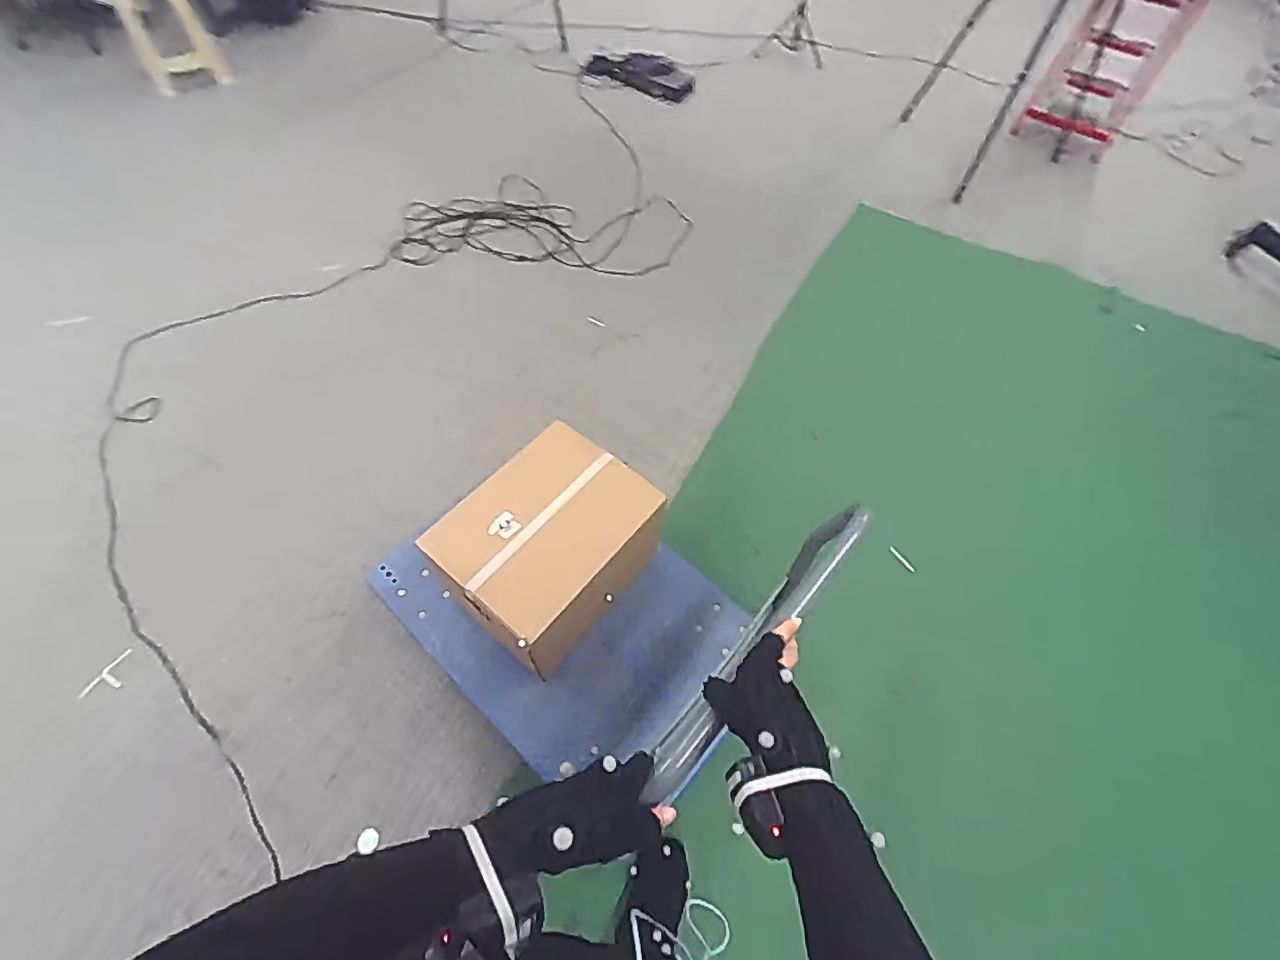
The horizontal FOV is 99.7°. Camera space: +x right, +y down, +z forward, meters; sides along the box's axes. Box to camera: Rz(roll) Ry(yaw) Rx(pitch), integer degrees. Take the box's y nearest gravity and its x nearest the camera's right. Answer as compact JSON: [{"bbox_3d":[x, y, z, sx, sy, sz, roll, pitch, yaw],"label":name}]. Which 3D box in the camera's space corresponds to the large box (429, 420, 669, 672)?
[{"bbox_3d":[-0.183,0.150,1.219,0.320,0.320,0.408,36,63,17],"label":"large box"}]
